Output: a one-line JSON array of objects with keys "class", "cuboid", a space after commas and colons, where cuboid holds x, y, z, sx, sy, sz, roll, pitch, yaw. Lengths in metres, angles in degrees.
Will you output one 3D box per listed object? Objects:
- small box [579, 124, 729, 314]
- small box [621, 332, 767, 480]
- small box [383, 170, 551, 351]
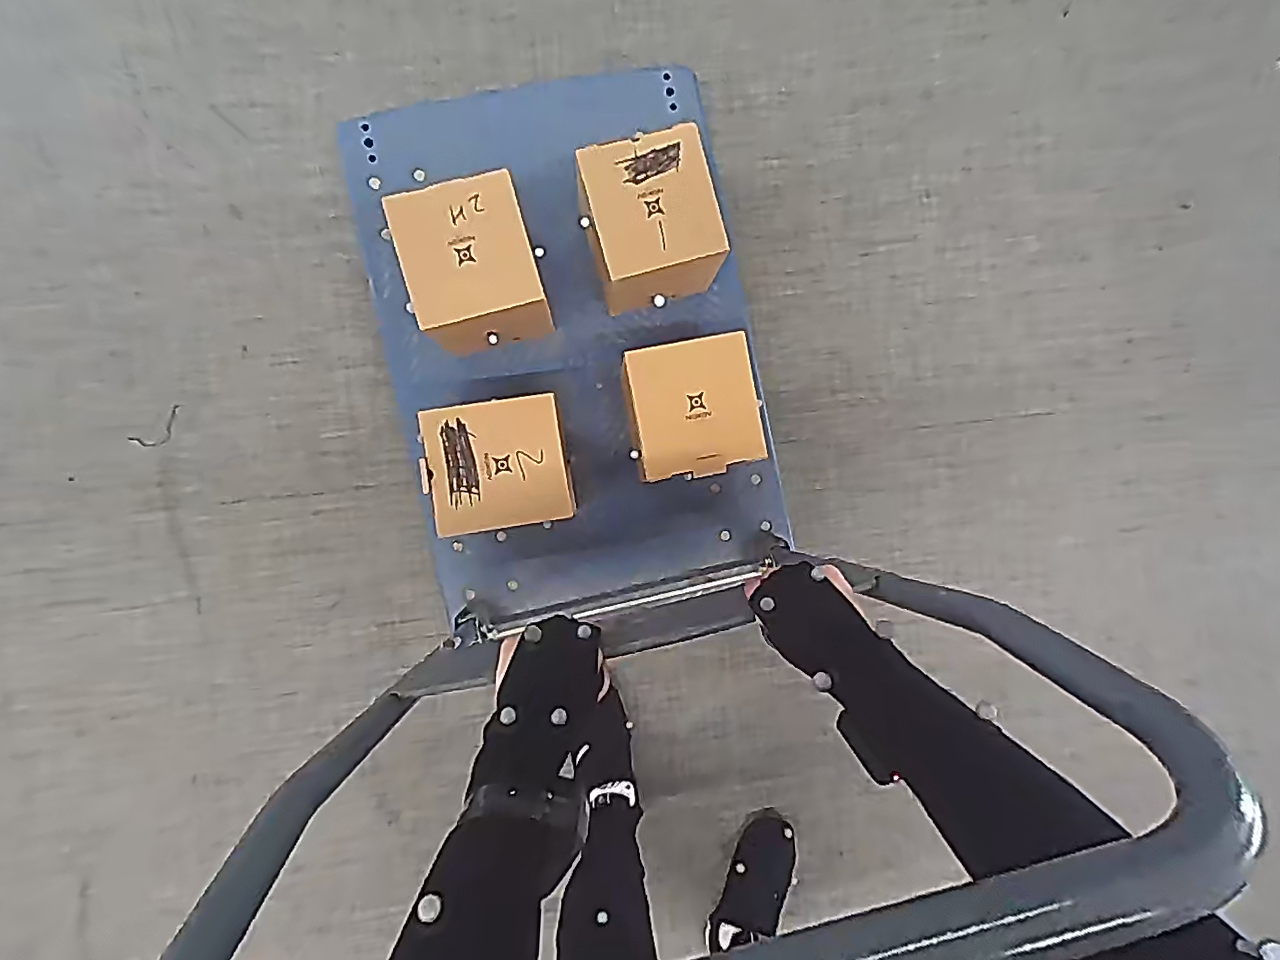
[{"class": "small box", "cuboid": [0.013, -0.363, 0.781, 0.168, 0.176, 0.179, -16, 93, -3]}, {"class": "small box", "cuboid": [0.069, -0.099, 0.791, 0.168, 0.176, 0.179, -11, 92, -4]}, {"class": "small box", "cuboid": [-0.229, -0.293, 0.765, 0.168, 0.176, 0.179, -16, 92, -5]}]
